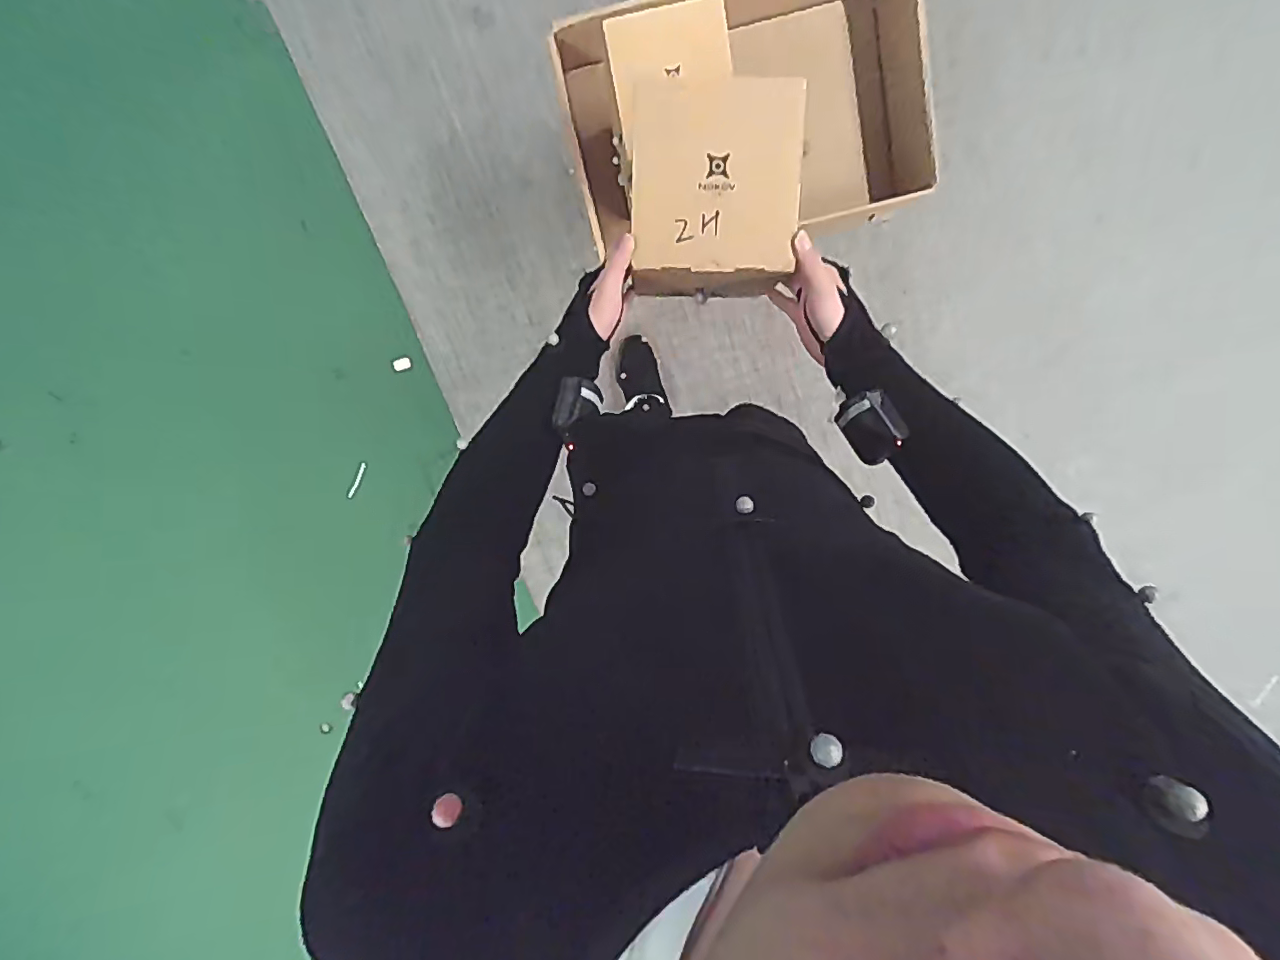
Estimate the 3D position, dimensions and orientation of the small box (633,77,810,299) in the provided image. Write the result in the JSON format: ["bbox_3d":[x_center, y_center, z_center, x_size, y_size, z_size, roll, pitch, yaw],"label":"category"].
[{"bbox_3d":[0.076,-0.306,0.603,0.168,0.176,0.179,1,102,0],"label":"small box"}]

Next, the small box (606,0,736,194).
[{"bbox_3d":[0.044,-0.555,0.810,0.168,0.176,0.179,-12,105,0],"label":"small box"}]
